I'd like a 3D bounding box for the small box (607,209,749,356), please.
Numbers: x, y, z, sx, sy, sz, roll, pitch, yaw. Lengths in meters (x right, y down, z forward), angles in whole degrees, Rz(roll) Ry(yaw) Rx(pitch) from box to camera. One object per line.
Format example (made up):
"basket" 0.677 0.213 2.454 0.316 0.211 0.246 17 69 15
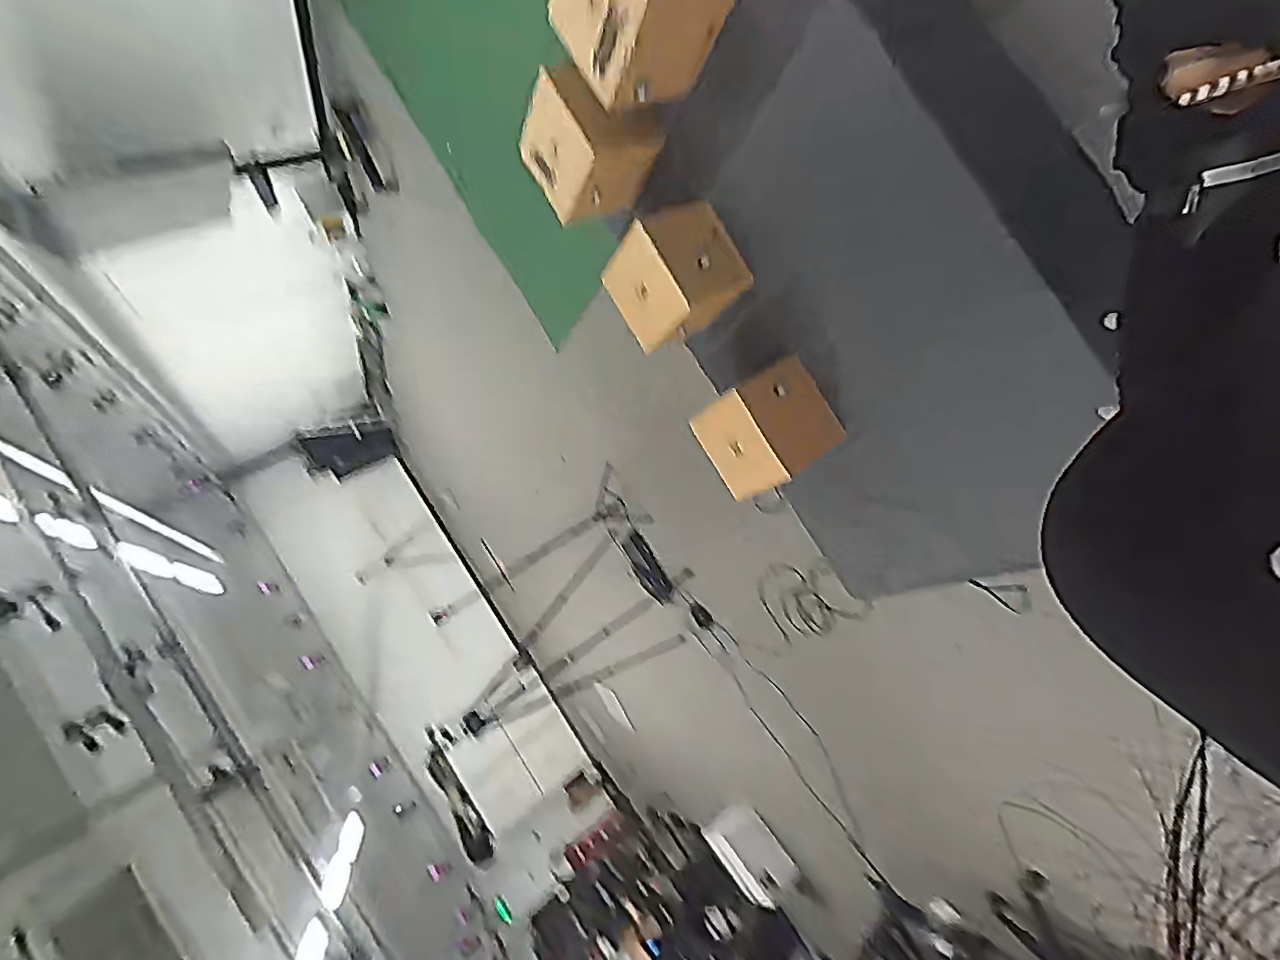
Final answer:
"small box" 0.073 -0.362 0.990 0.168 0.176 0.179 59 152 0

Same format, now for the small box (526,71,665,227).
"small box" -0.082 -0.606 0.995 0.168 0.176 0.179 58 151 0

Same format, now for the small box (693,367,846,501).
"small box" 0.235 -0.088 0.990 0.179 0.176 0.168 59 152 2
